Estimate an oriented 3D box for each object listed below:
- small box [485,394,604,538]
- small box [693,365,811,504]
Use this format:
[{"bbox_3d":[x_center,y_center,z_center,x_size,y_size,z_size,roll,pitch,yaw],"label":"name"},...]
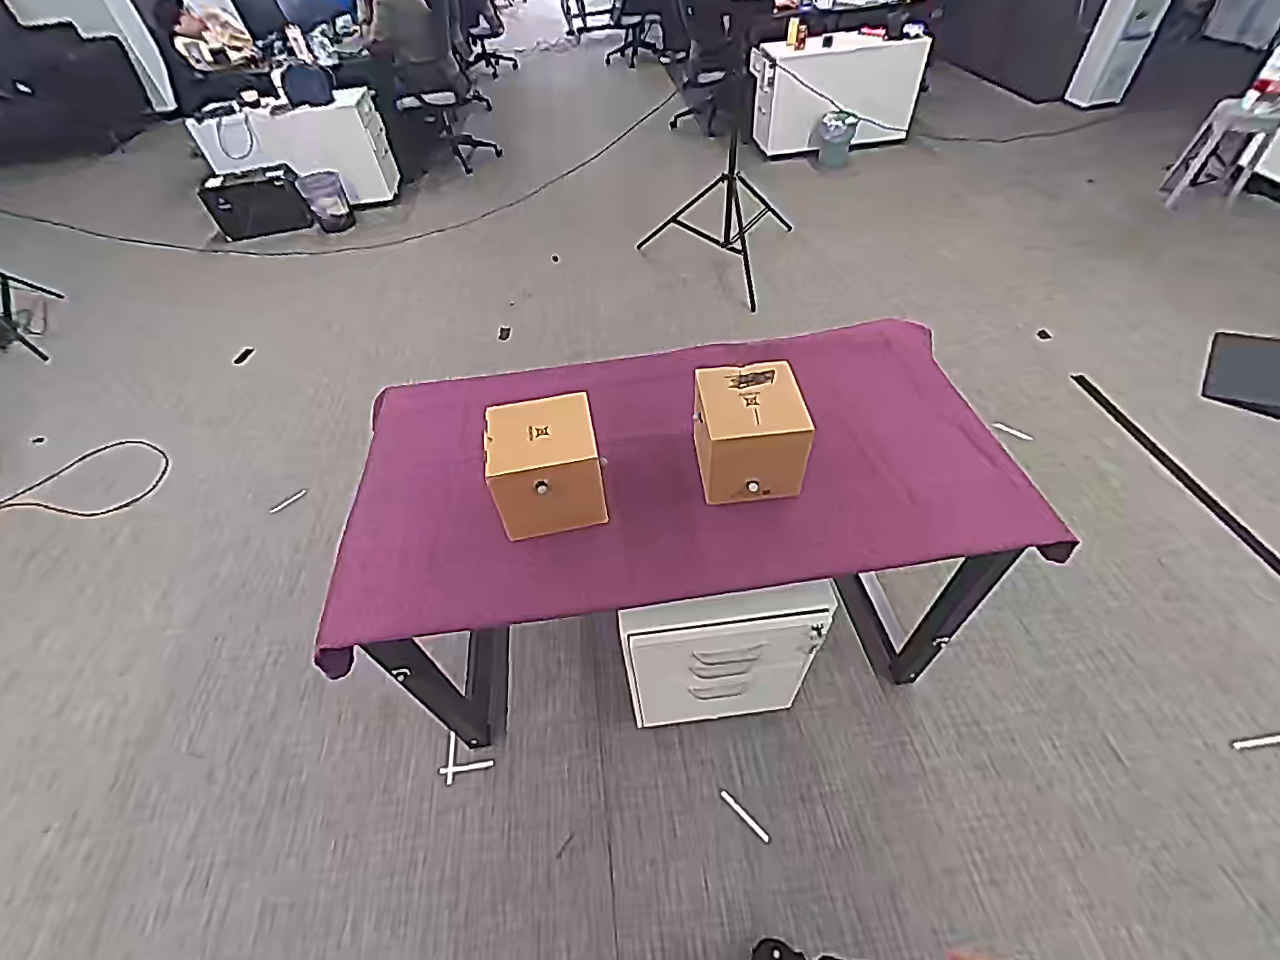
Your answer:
[{"bbox_3d":[-0.160,-0.022,0.939,0.179,0.176,0.168,-11,49,-4],"label":"small box"},{"bbox_3d":[0.186,-0.079,0.959,0.168,0.176,0.179,-6,50,0],"label":"small box"}]
